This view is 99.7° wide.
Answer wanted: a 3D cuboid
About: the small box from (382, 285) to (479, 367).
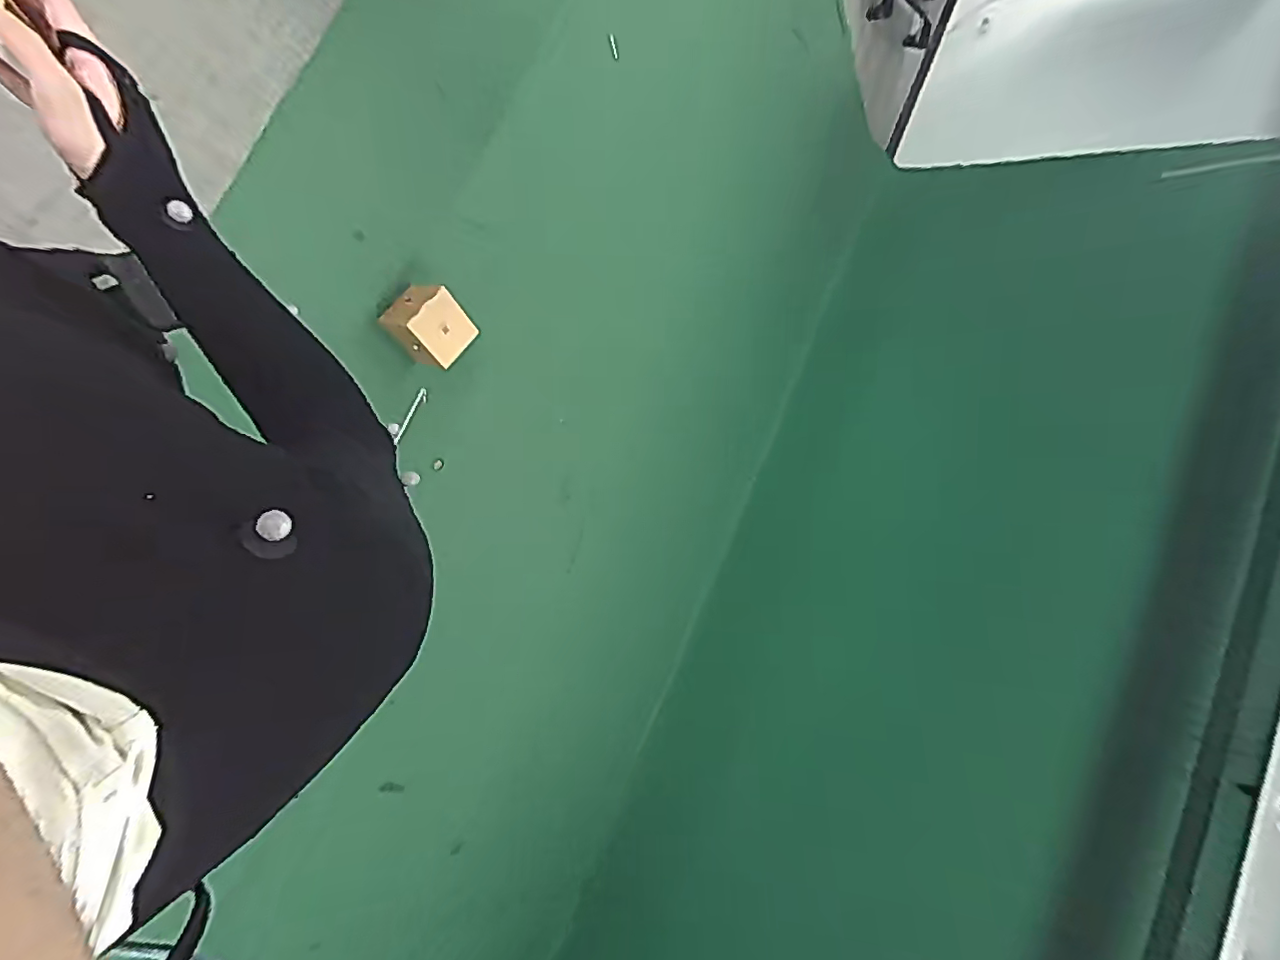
[{"bbox_3d":[-0.631,-0.470,1.630,0.168,0.176,0.179,-56,140,-20],"label":"small box"}]
